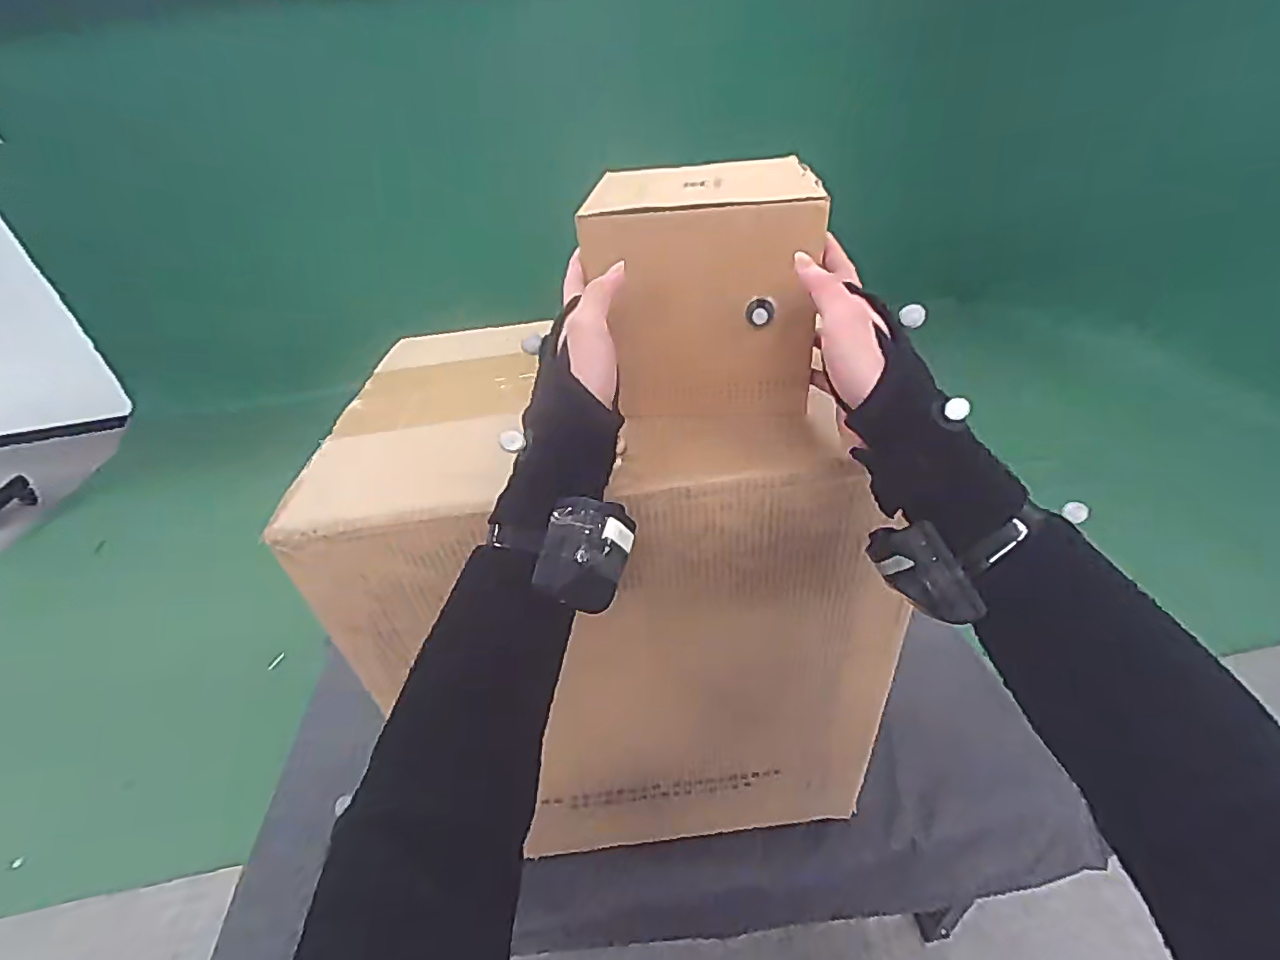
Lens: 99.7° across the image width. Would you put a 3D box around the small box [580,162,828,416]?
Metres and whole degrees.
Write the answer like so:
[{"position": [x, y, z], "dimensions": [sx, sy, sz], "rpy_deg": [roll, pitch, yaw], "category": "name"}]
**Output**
[{"position": [0.059, -0.170, 0.488], "dimensions": [0.179, 0.176, 0.168], "rpy_deg": [-1, 38, 9], "category": "small box"}]
